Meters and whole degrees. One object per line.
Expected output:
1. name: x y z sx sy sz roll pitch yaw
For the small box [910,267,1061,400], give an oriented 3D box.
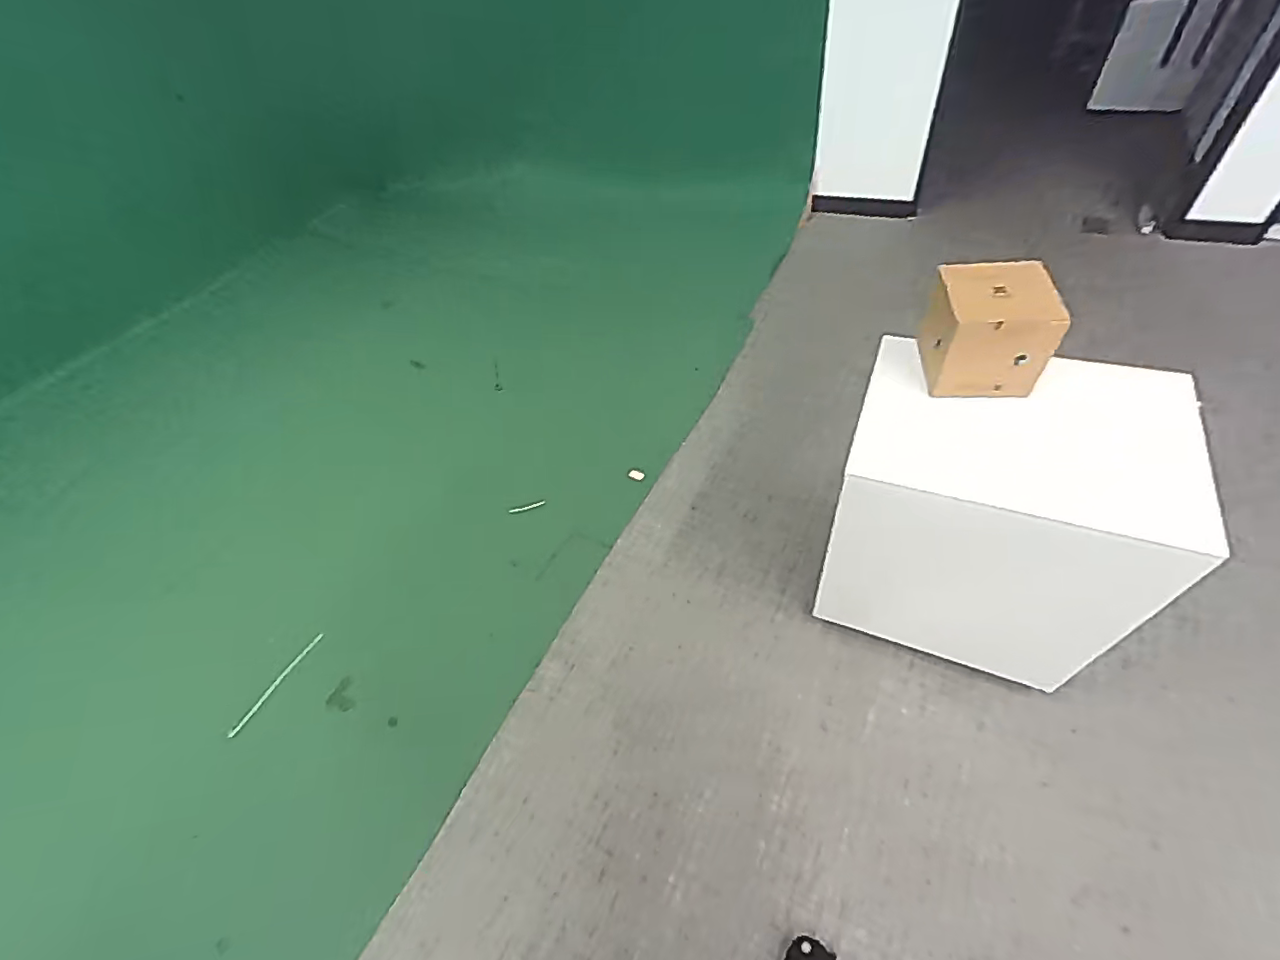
1. small box: 0.605 -0.259 0.975 0.168 0.176 0.179 2 51 10
